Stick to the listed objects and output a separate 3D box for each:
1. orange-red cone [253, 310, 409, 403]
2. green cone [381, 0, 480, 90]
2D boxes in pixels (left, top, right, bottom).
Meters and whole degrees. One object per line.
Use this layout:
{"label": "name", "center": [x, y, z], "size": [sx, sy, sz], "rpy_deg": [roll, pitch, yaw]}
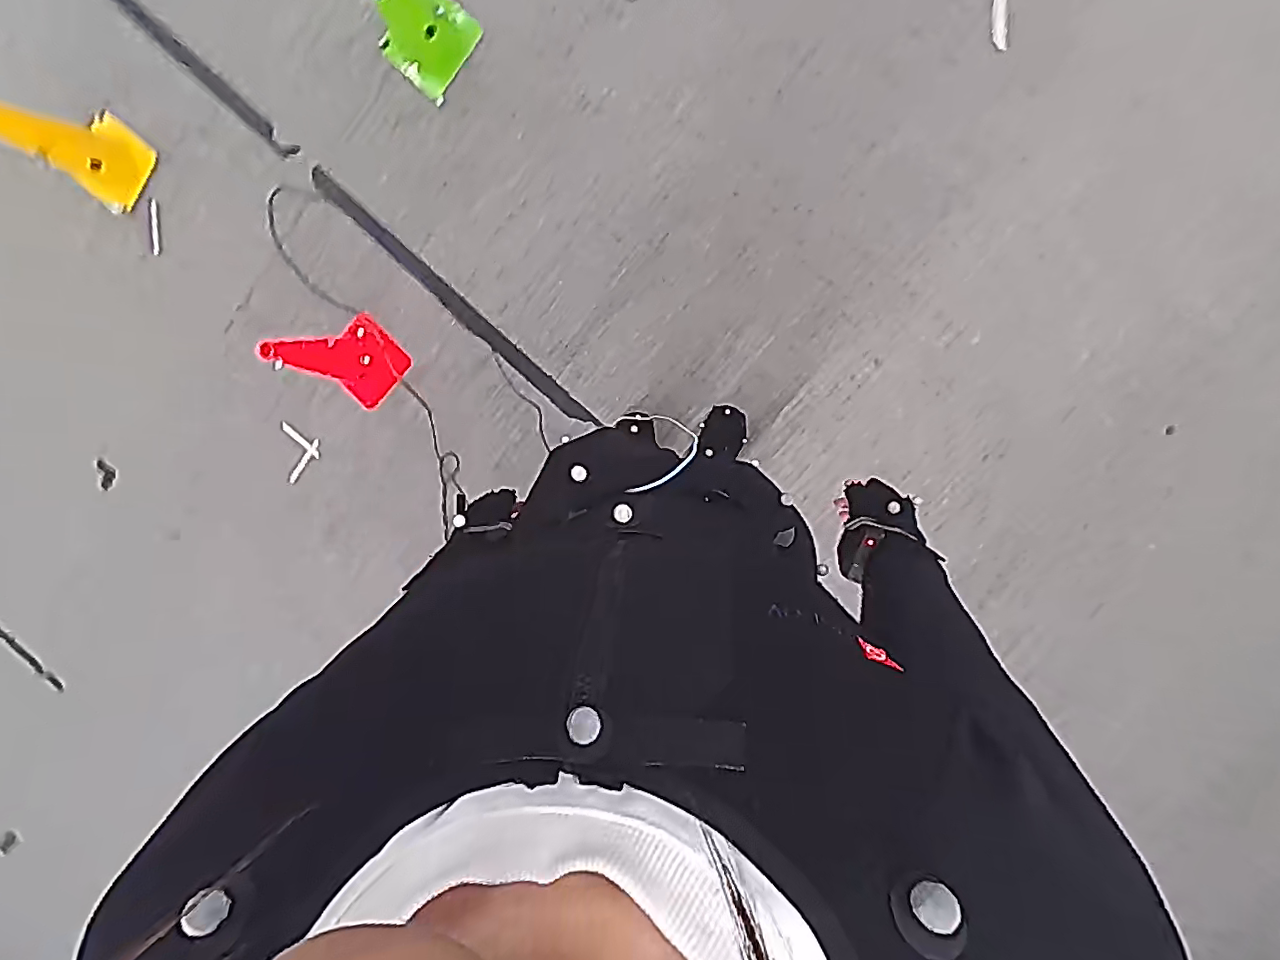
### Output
{"label": "orange-red cone", "center": [-0.774, -0.310, 1.310], "size": [0.199, 0.360, 0.198], "rpy_deg": [-43, 90, 12]}
{"label": "green cone", "center": [-0.533, -1.073, 1.157], "size": [0.200, 0.368, 0.202], "rpy_deg": [42, 100, -1]}
